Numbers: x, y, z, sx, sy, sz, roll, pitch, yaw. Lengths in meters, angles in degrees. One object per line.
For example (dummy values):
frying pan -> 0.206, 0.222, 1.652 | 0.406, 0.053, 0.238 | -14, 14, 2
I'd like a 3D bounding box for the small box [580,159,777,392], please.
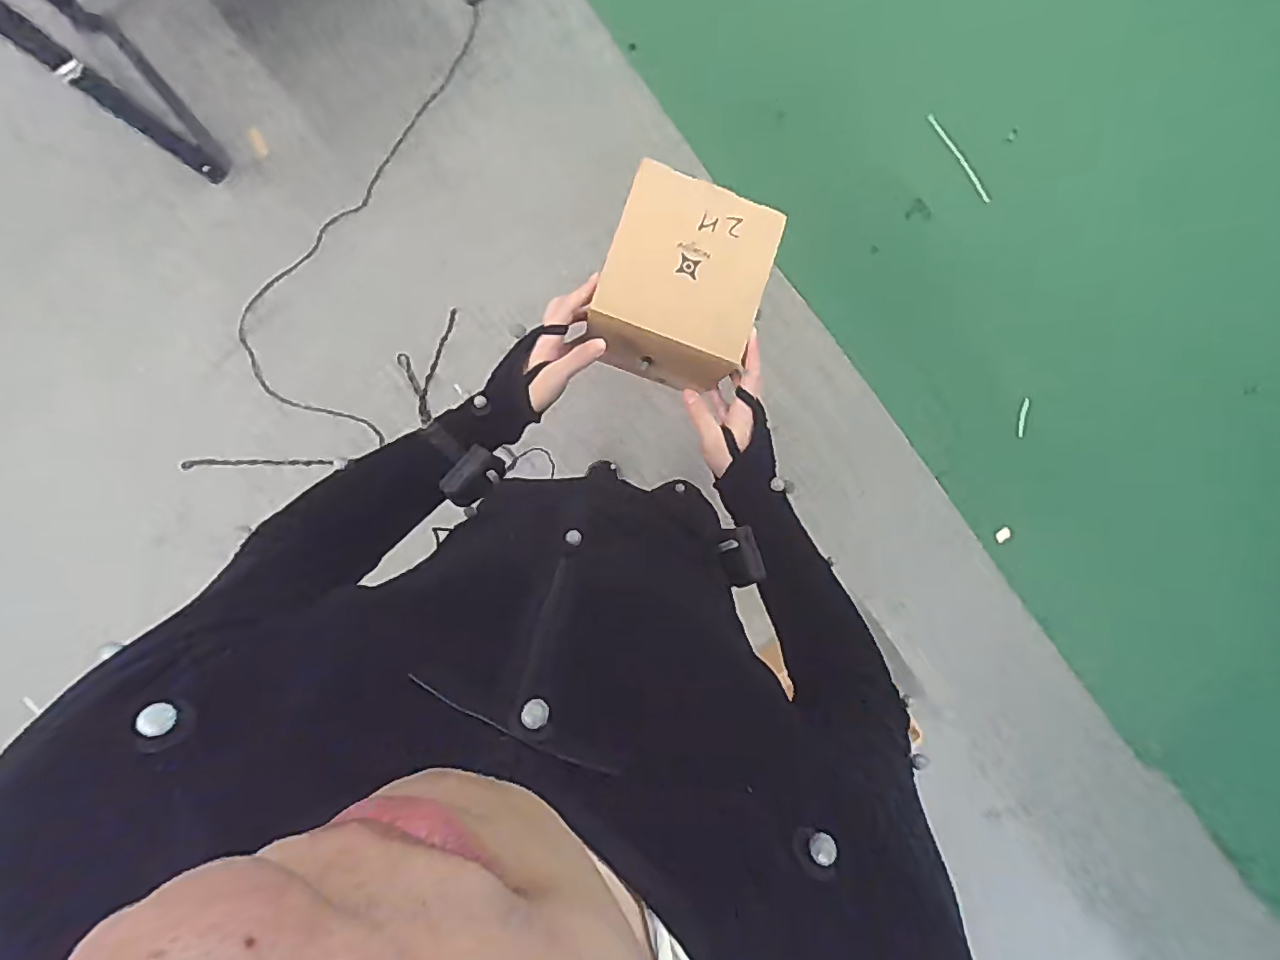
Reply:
small box -> 0.034, -0.220, 0.637 | 0.168, 0.176, 0.179 | 19, 84, -7
